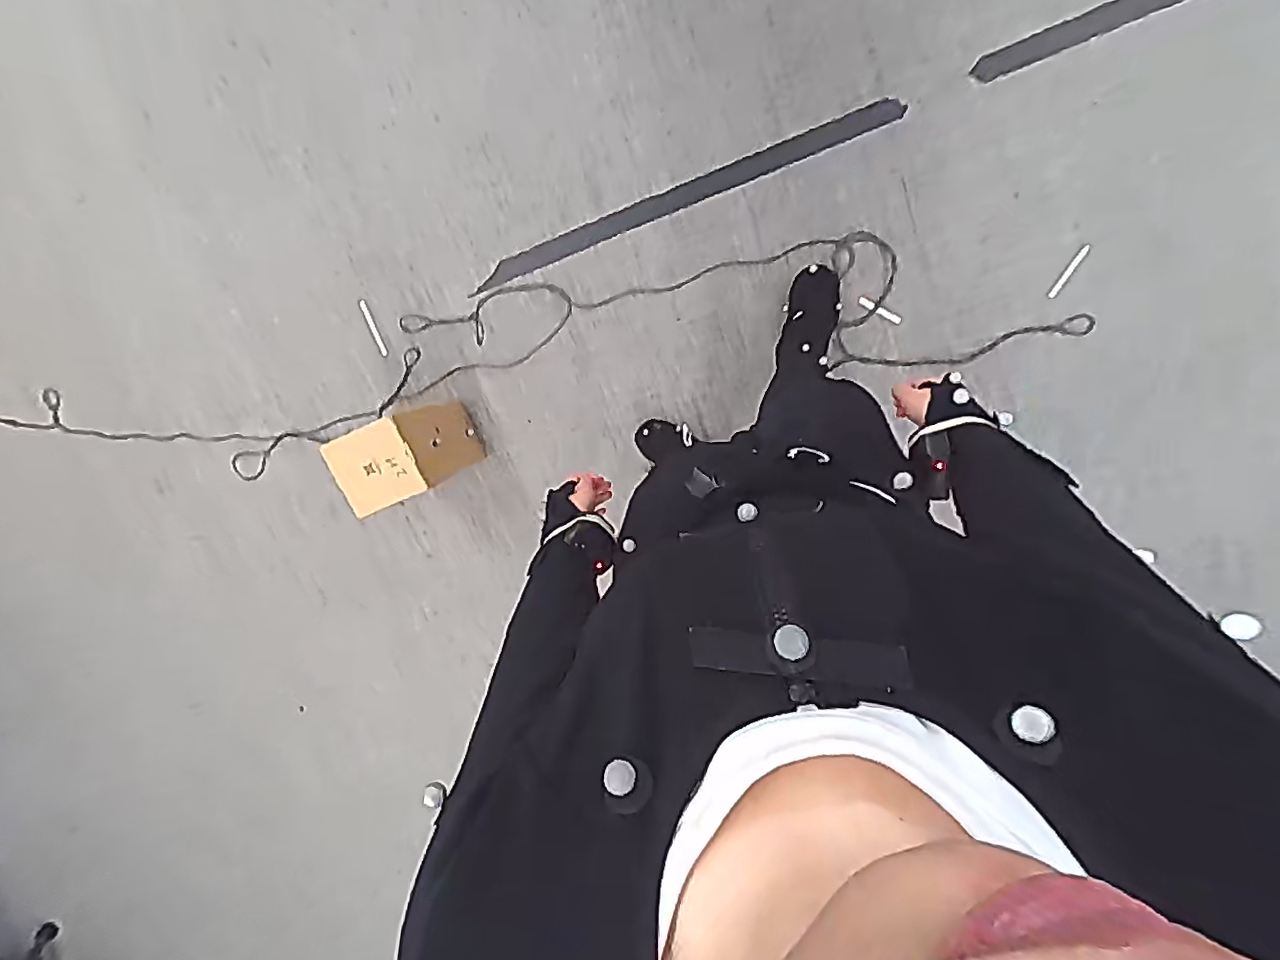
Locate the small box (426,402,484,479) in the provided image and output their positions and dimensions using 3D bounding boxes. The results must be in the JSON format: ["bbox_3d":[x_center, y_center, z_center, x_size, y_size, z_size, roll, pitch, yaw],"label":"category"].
[{"bbox_3d":[-0.512,-0.081,1.313,0.179,0.176,0.168,-20,102,9],"label":"small box"}]

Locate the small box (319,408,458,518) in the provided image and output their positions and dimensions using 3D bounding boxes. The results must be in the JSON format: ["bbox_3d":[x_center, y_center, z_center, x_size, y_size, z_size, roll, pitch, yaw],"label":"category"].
[{"bbox_3d":[-0.526,-0.041,1.154,0.179,0.176,0.168,-21,102,9],"label":"small box"}]
